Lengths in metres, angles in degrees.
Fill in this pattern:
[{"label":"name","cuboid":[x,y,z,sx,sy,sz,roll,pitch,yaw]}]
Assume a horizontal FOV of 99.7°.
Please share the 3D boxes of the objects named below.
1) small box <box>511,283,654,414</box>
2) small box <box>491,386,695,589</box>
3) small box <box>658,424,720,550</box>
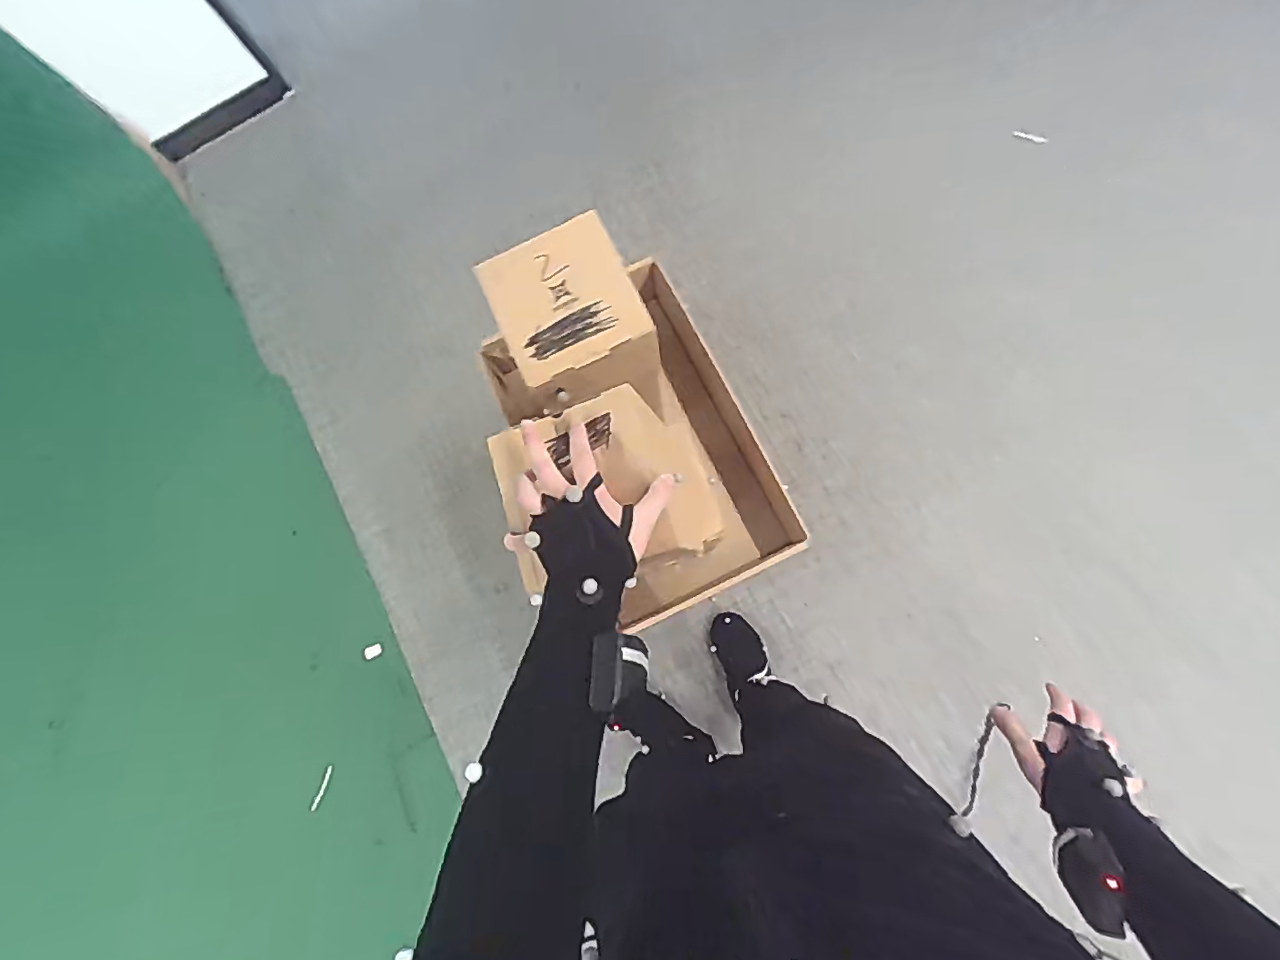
[{"label":"small box","cuboid":[-0.086,-0.179,0.889,0.168,0.176,0.179,-27,81,-1]},{"label":"small box","cuboid":[-0.045,0.020,0.628,0.168,0.176,0.179,-19,77,10]},{"label":"small box","cuboid":[0.016,0.038,0.839,0.168,0.176,0.179,-21,78,1]}]
